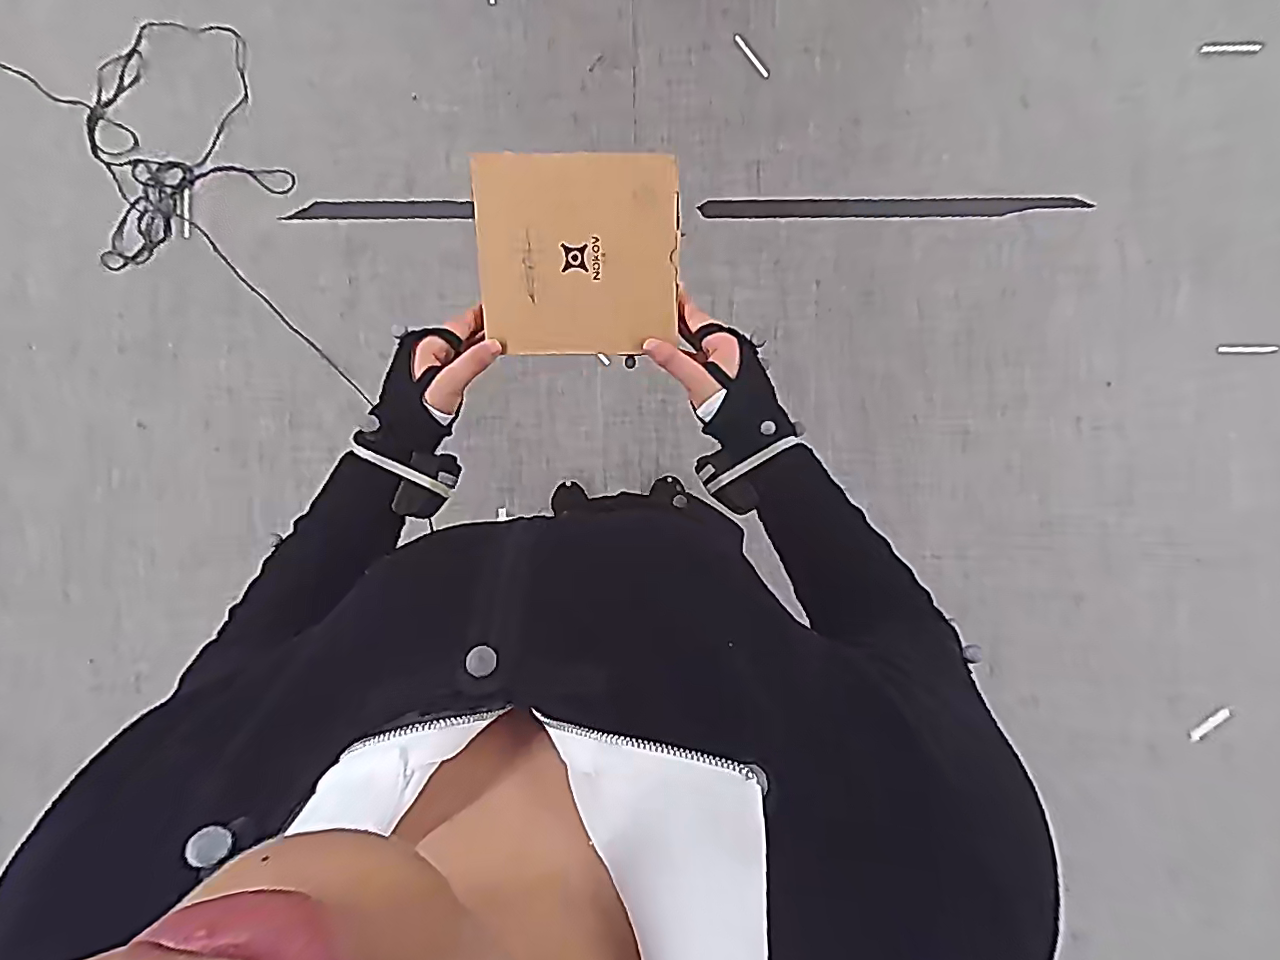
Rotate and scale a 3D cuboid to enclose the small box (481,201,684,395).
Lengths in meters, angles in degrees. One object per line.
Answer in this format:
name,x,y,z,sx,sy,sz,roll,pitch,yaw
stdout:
small box,-0.051,-0.179,0.558,0.179,0.176,0.168,-2,103,0
